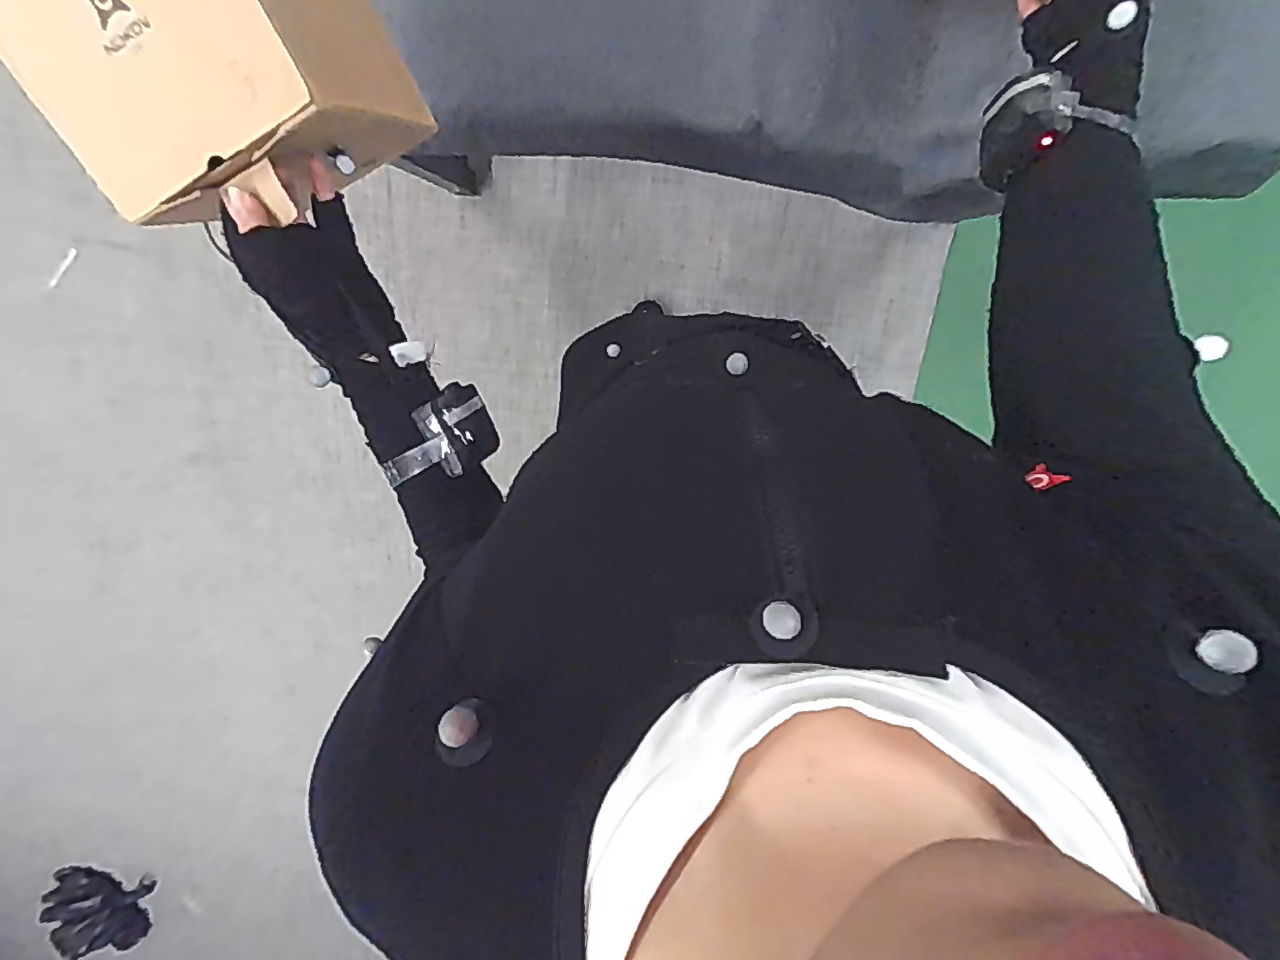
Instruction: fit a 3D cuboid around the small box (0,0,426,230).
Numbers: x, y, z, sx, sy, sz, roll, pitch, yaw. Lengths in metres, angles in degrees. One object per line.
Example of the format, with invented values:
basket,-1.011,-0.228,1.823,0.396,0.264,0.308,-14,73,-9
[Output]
small box,-0.282,-0.294,0.365,0.168,0.176,0.179,-20,113,15
